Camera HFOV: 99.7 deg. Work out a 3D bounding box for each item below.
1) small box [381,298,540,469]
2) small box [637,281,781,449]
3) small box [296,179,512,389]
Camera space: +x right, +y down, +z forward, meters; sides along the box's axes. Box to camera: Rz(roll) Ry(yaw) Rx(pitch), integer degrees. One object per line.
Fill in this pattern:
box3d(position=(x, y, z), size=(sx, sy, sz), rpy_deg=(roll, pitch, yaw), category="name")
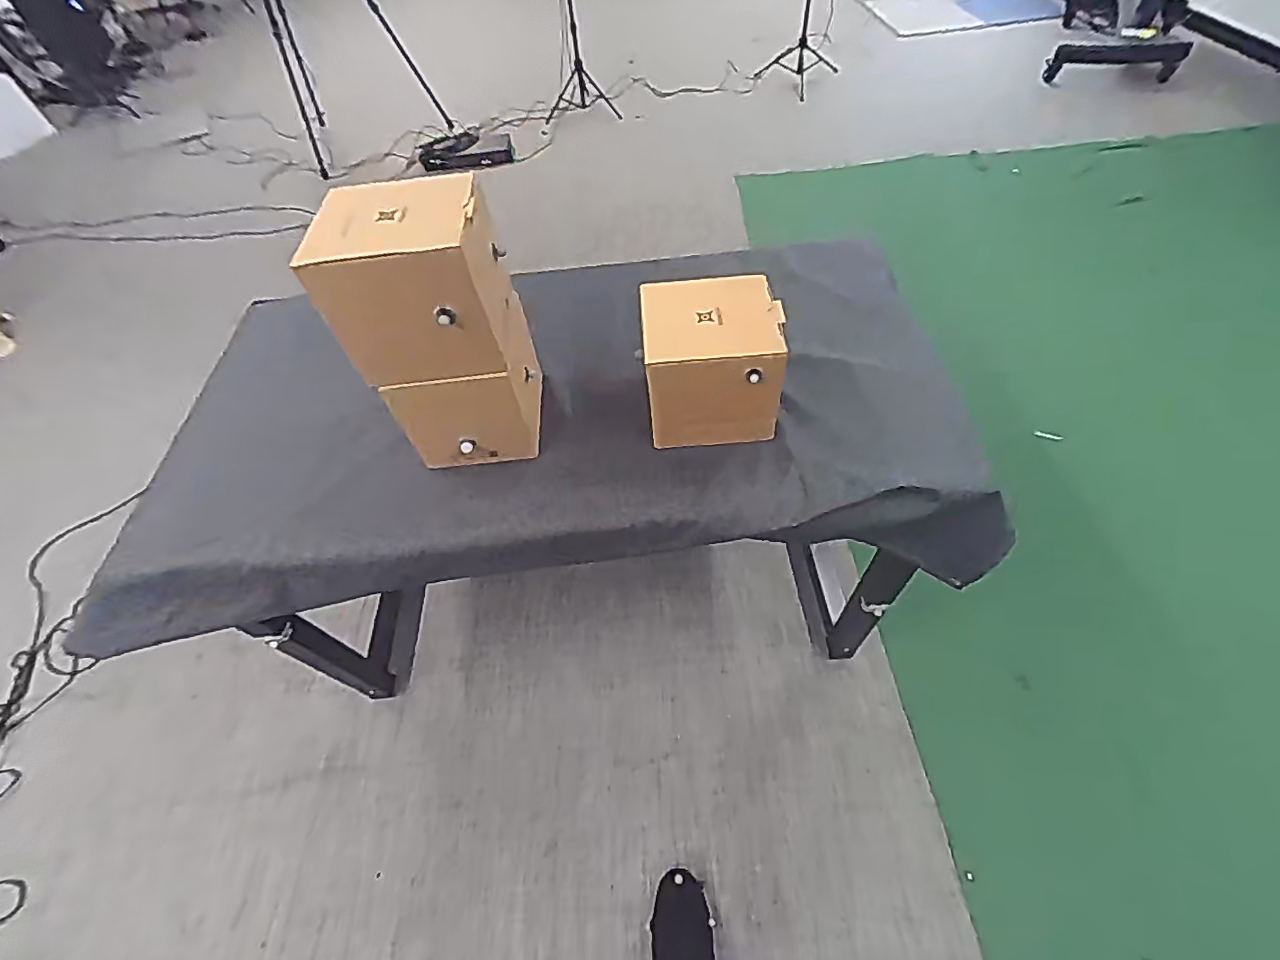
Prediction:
box3d(position=(-0.245, -0.137, 0.787), size=(0.168, 0.176, 0.179), rpy_deg=(-6, 54, 1), category="small box")
box3d(position=(0.091, -0.159, 0.776), size=(0.179, 0.176, 0.168), rpy_deg=(-4, 53, 2), category="small box")
box3d(position=(-0.263, -0.232, 0.655), size=(0.179, 0.176, 0.168), rpy_deg=(-7, 52, 1), category="small box")
